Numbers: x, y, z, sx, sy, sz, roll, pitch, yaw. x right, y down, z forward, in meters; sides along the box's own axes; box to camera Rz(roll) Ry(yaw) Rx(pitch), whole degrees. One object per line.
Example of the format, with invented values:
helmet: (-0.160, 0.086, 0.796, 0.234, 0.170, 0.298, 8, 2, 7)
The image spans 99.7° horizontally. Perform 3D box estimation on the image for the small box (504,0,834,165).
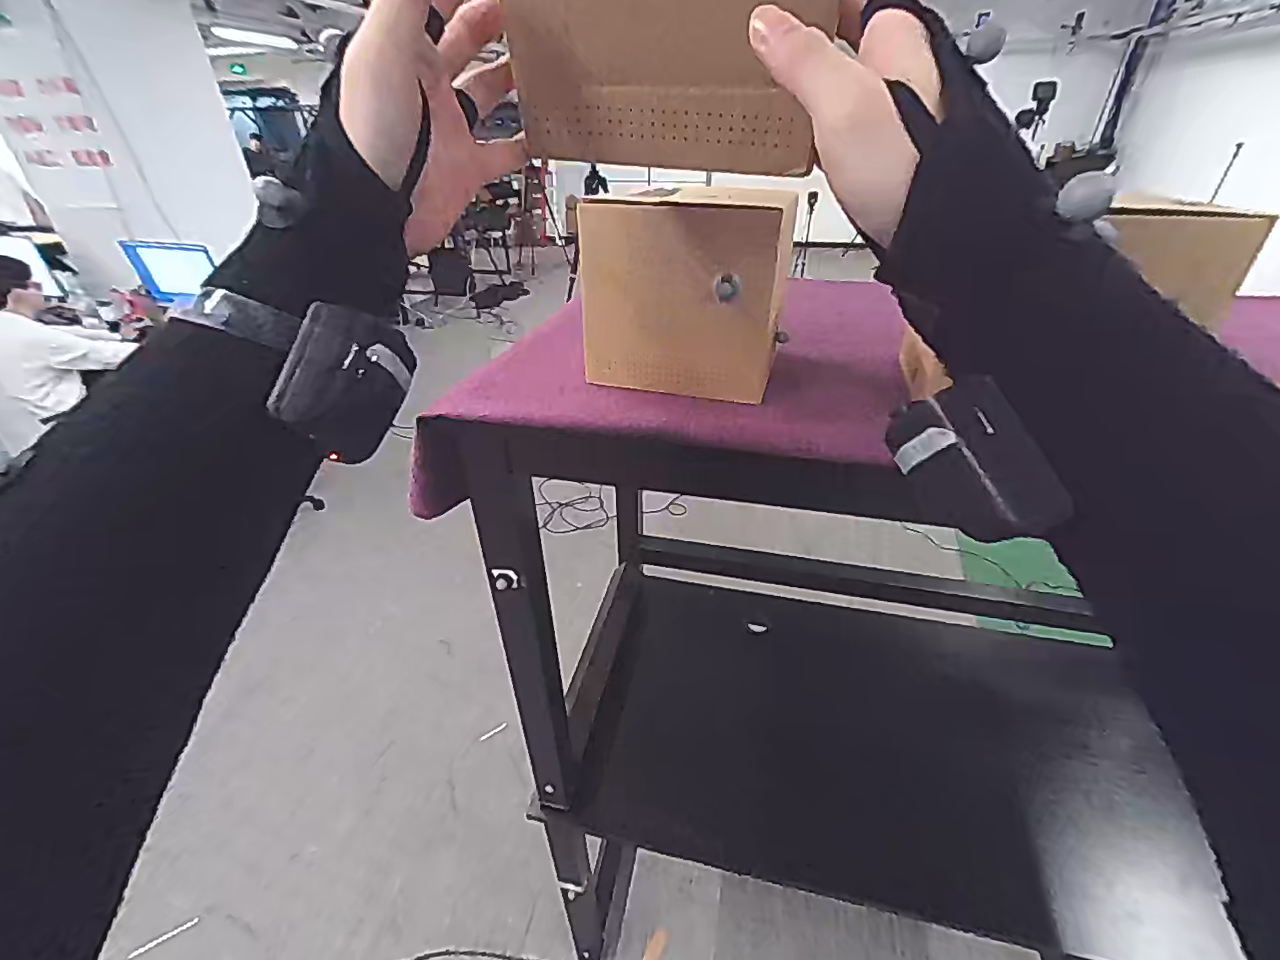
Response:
small box: (0.025, -0.304, 0.310, 0.179, 0.176, 0.168, 10, 54, 10)

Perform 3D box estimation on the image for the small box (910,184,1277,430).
small box: (0.345, -0.154, 0.466, 0.179, 0.176, 0.168, 8, 33, 15)
